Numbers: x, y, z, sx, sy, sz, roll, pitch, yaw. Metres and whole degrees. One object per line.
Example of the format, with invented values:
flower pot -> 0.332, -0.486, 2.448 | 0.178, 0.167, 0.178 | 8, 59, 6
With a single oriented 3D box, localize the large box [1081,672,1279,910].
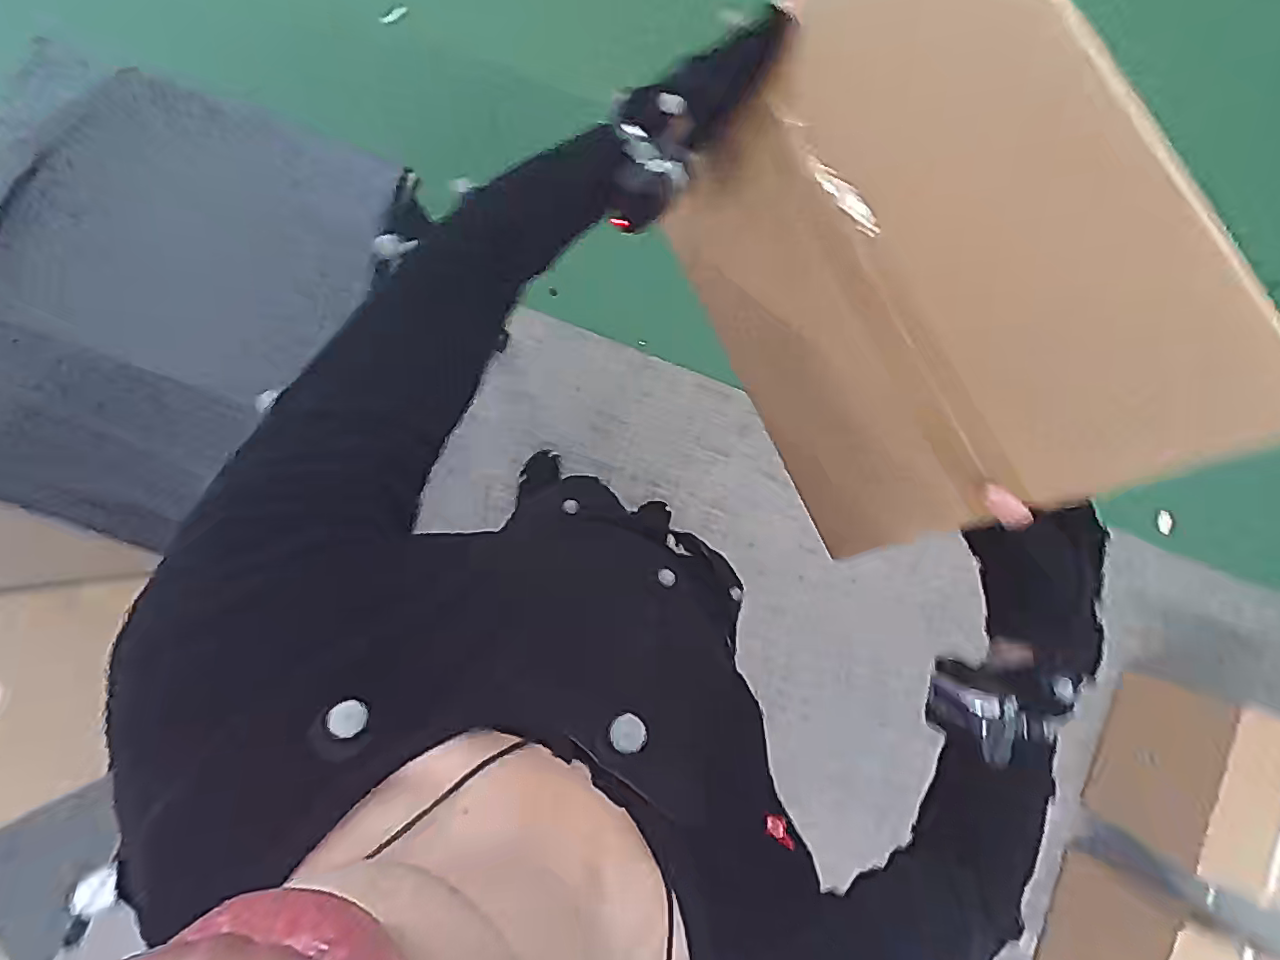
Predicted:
large box -> 1.426, 0.764, 1.366 | 0.320, 0.320, 0.408 | 22, 84, 0
